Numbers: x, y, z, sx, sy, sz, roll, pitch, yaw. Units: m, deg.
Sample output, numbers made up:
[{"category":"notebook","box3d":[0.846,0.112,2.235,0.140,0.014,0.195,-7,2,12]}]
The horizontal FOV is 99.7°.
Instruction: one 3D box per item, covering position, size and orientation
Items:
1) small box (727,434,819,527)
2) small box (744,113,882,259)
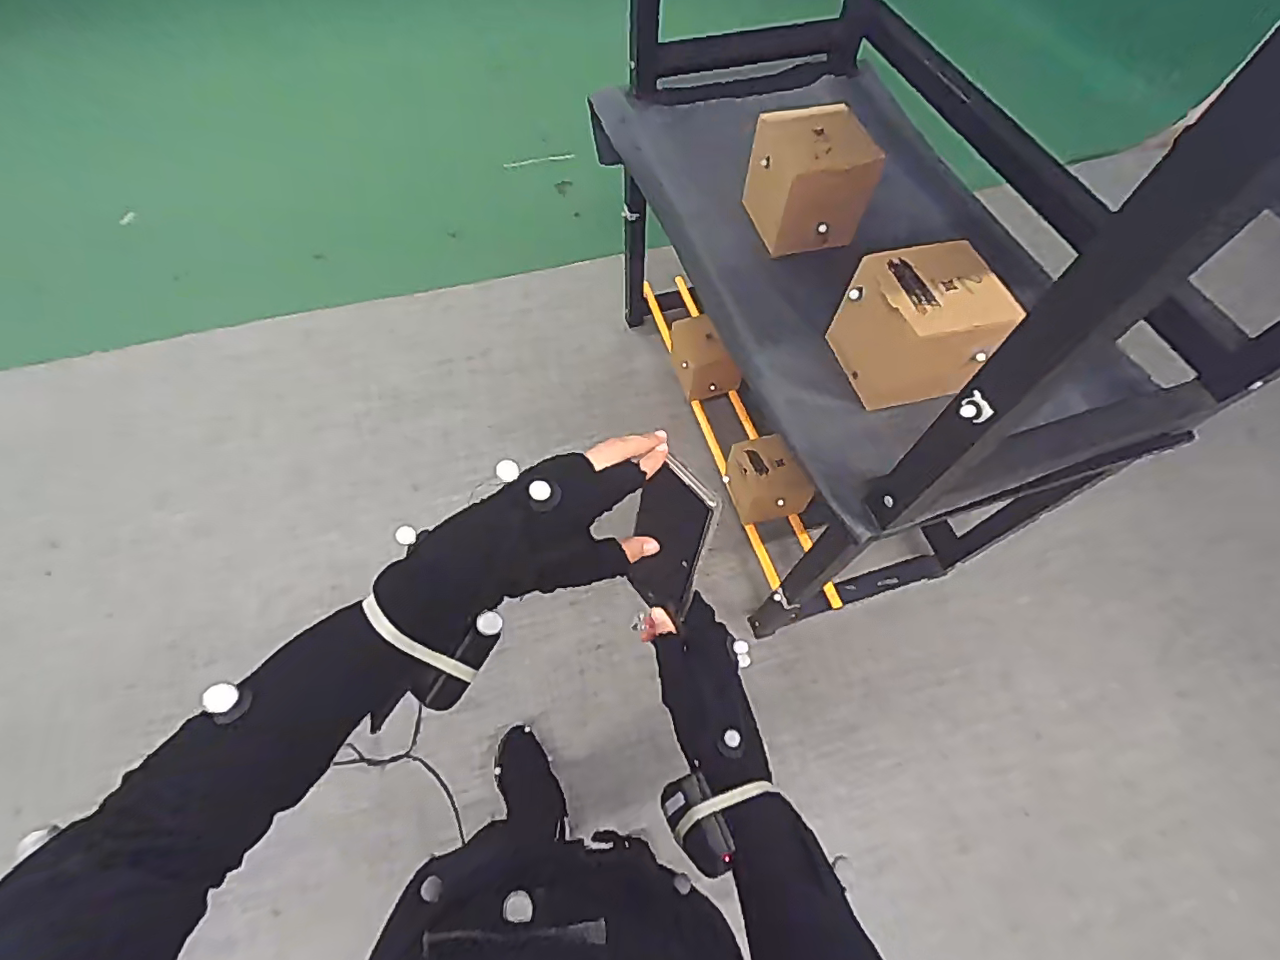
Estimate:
[{"category":"small box","box3d":[0.337,0.007,1.418,0.179,0.176,0.168,-12,63,-7]},{"category":"small box","box3d":[0.308,-0.544,1.008,0.168,0.176,0.179,-12,63,-8]}]
